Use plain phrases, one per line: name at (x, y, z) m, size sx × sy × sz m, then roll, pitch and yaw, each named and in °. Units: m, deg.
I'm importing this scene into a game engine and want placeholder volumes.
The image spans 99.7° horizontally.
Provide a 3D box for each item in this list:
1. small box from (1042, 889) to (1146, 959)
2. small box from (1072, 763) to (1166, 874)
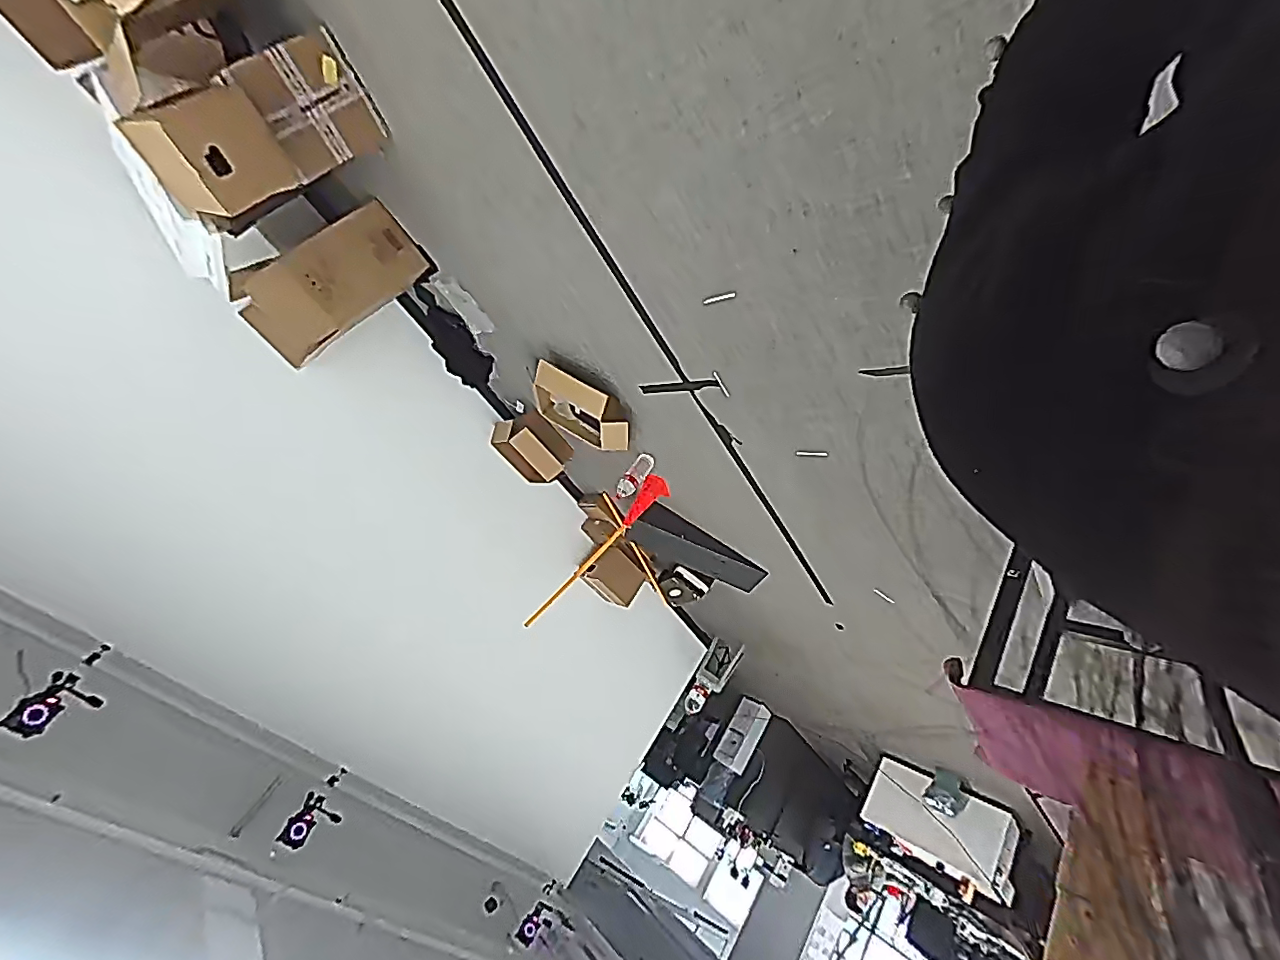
small box at (1.088, 1.128, 1.300) m, size 0.168 × 0.176 × 0.179 m, roll 13°, pitch 148°, yaw 45°
small box at (1.270, 0.893, 1.437) m, size 0.168 × 0.176 × 0.179 m, roll 10°, pitch 145°, yaw 45°
